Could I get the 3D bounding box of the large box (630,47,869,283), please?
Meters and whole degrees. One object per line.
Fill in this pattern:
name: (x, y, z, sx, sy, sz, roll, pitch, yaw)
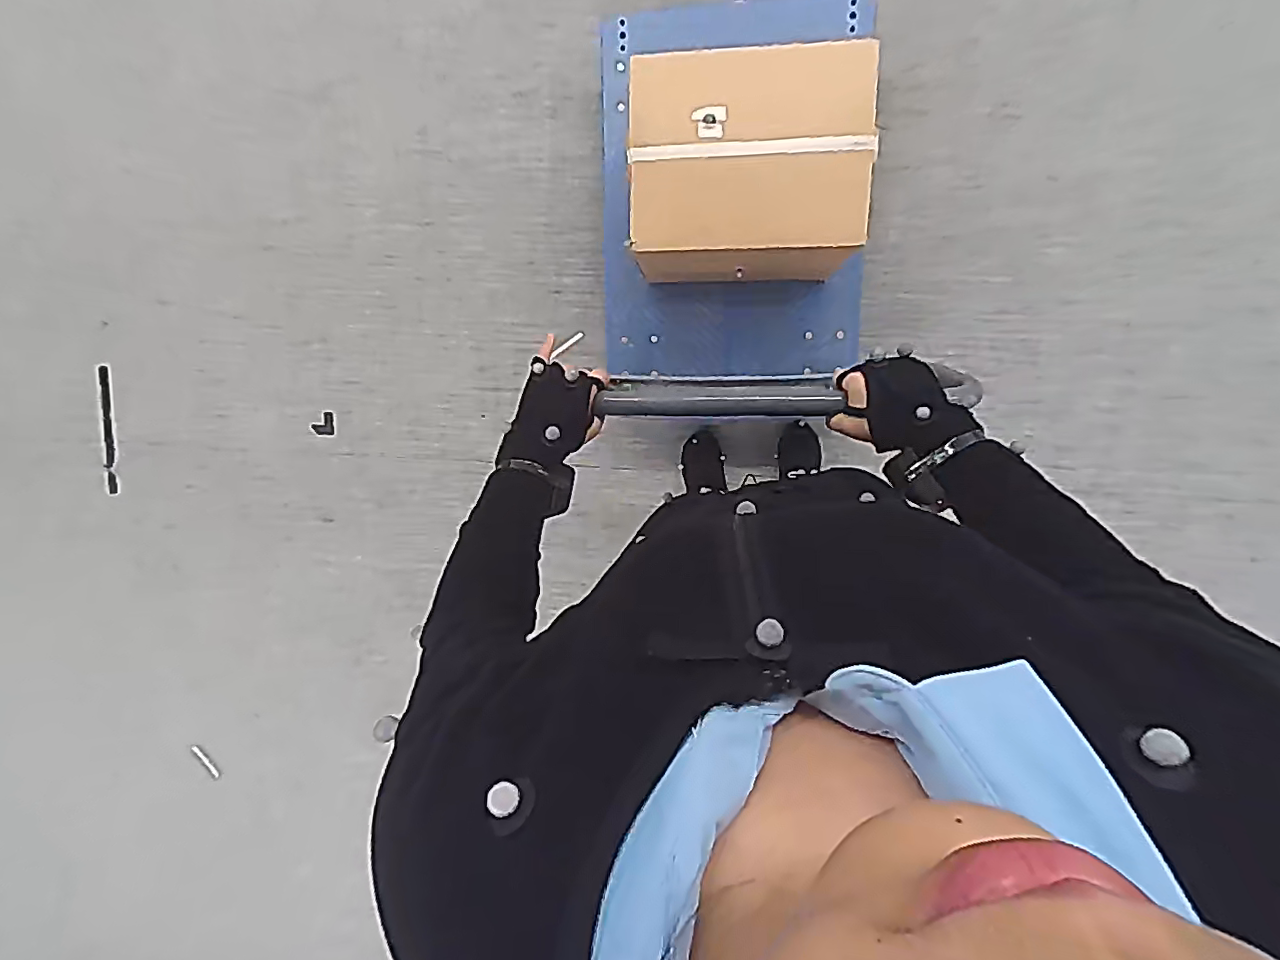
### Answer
large box: (0.203, -0.583, 1.077, 0.408, 0.320, 0.320, 1, 99, 8)
